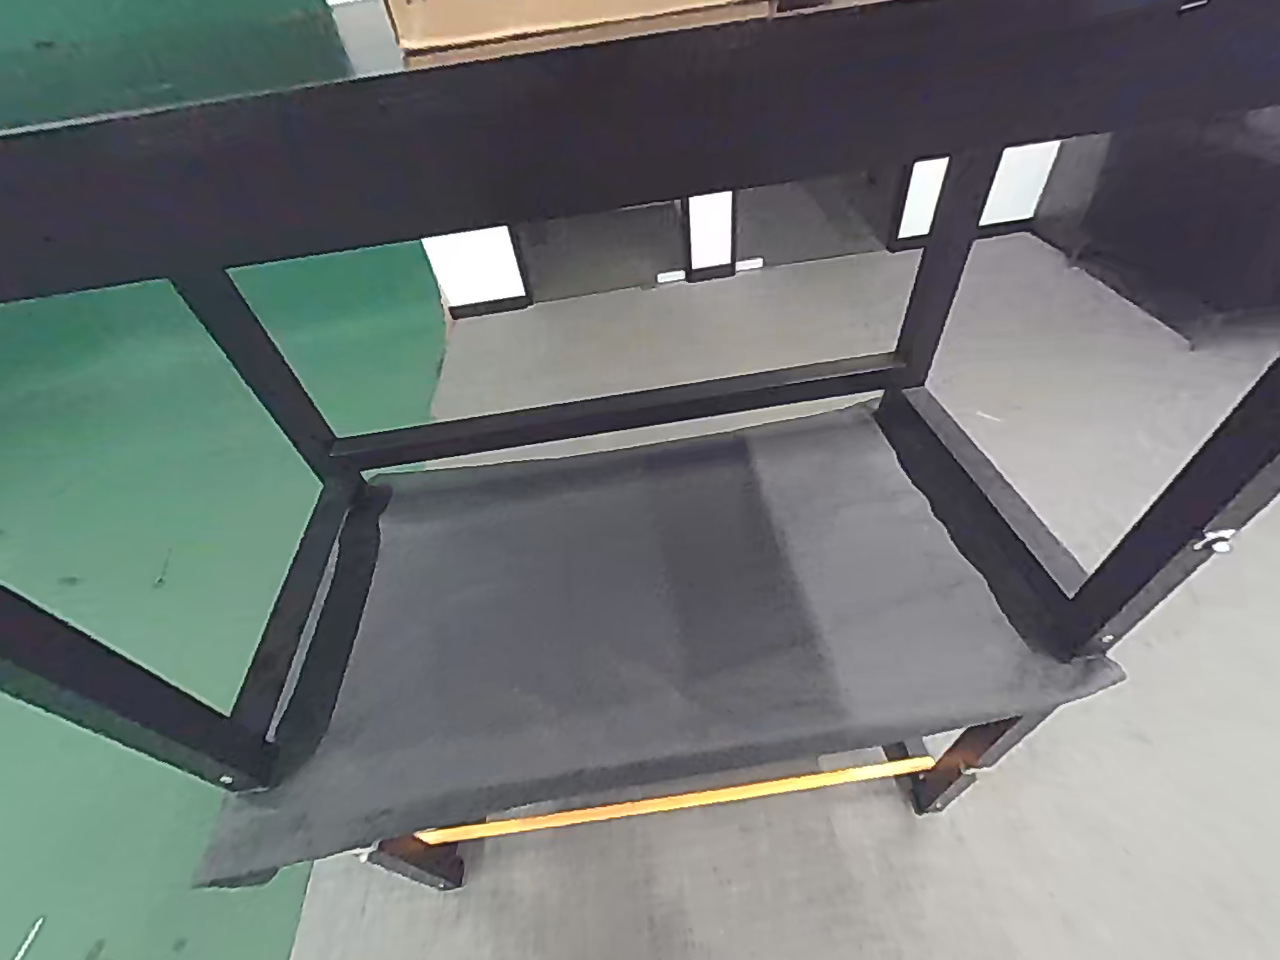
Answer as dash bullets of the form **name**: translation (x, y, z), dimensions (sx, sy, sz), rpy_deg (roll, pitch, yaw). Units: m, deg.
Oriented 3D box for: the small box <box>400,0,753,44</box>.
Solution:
- **small box**: translation (-0.041, -0.315, 0.242), dimensions (0.168, 0.176, 0.179), rpy_deg (-9, 45, -1)
